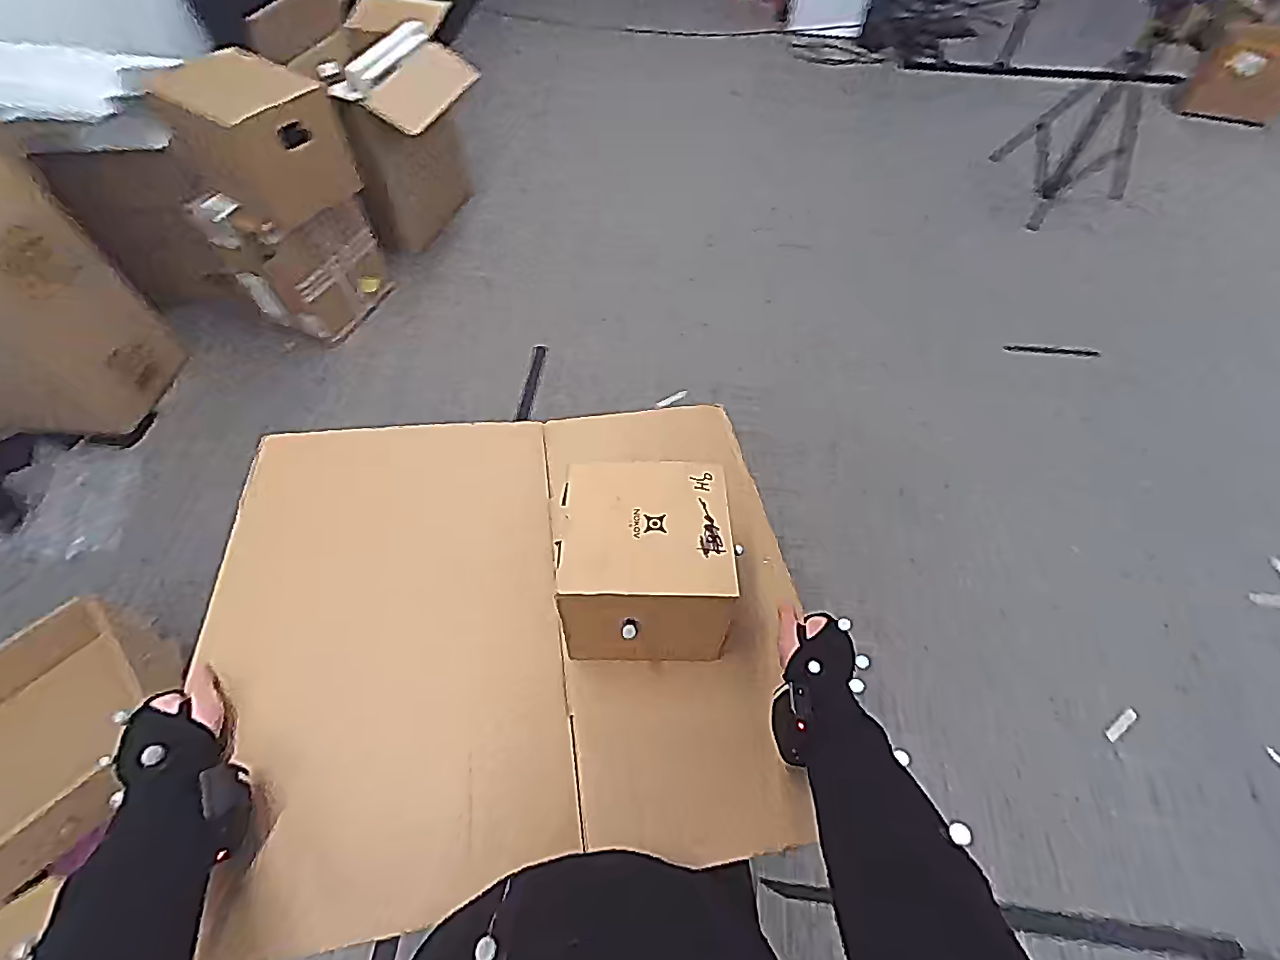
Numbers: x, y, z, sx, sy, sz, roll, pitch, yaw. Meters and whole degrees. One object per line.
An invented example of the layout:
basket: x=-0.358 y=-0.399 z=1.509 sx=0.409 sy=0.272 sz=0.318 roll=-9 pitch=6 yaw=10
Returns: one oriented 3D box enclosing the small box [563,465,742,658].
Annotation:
small box: x=0.014 y=0.099 z=0.627 sx=0.179 sy=0.176 sz=0.168 roll=1 pitch=53 yaw=0
